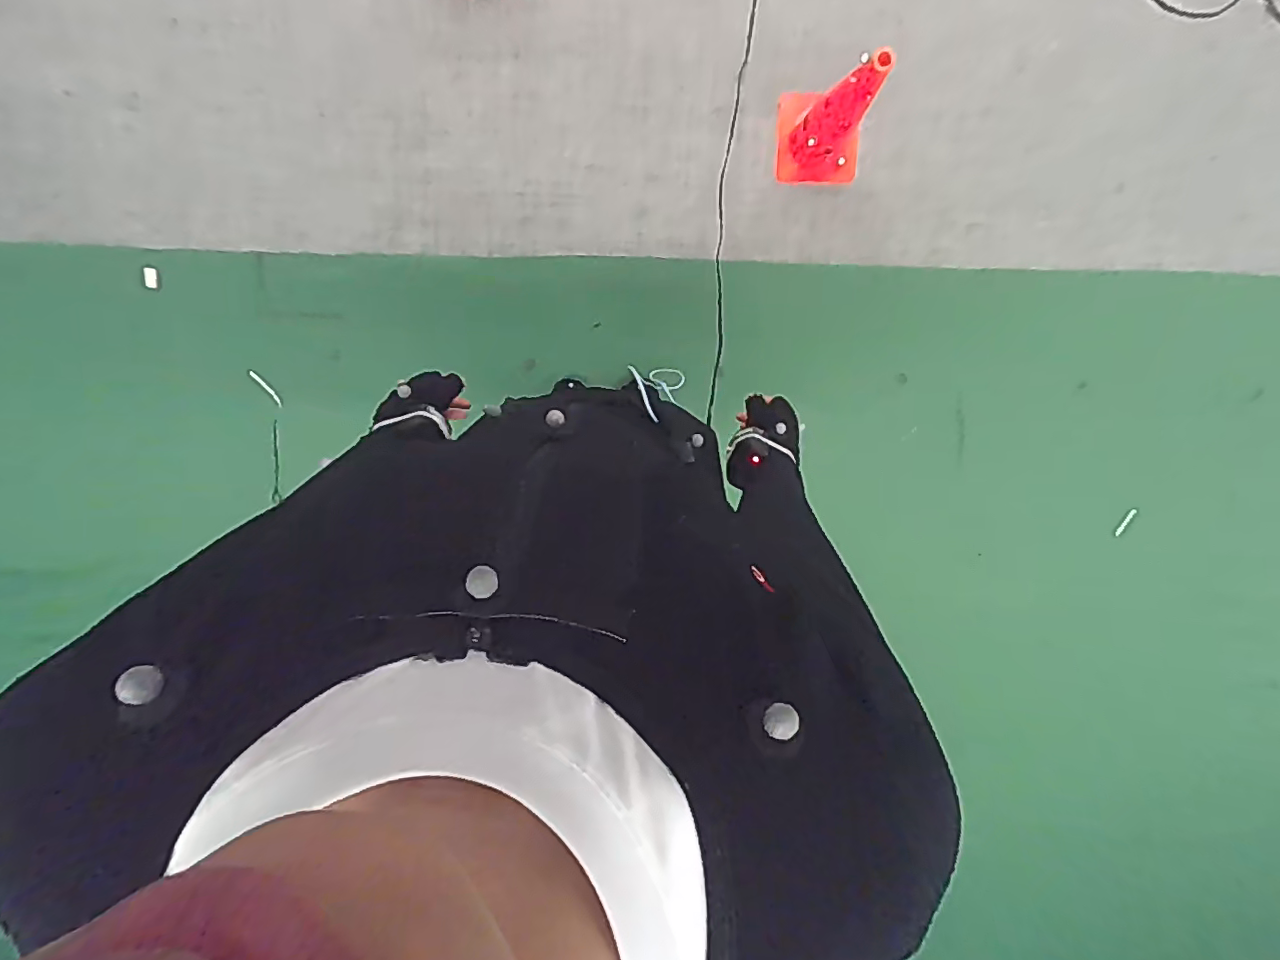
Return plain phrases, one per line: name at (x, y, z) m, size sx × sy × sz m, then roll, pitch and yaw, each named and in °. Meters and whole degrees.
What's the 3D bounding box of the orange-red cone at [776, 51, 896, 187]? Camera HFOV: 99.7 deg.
orange-red cone at (0.443, -0.801, 1.160) m, size 0.198 × 0.360 × 0.199 m, roll 1°, pitch 100°, yaw -2°
